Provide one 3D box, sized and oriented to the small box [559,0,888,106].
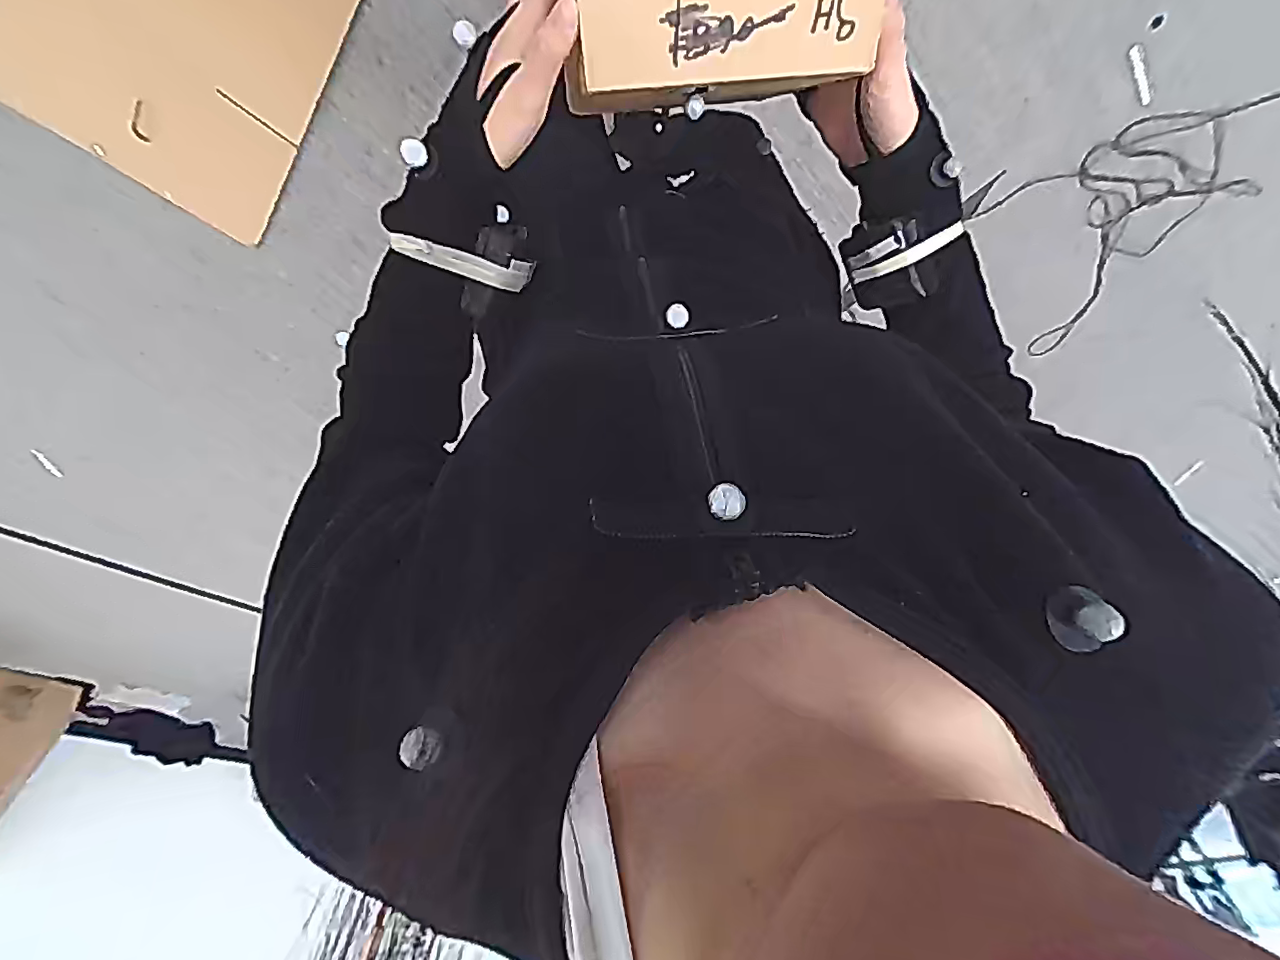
[{"bbox_3d":[0.033,-0.336,0.314,0.168,0.176,0.179,-8,121,-6],"label":"small box"}]
